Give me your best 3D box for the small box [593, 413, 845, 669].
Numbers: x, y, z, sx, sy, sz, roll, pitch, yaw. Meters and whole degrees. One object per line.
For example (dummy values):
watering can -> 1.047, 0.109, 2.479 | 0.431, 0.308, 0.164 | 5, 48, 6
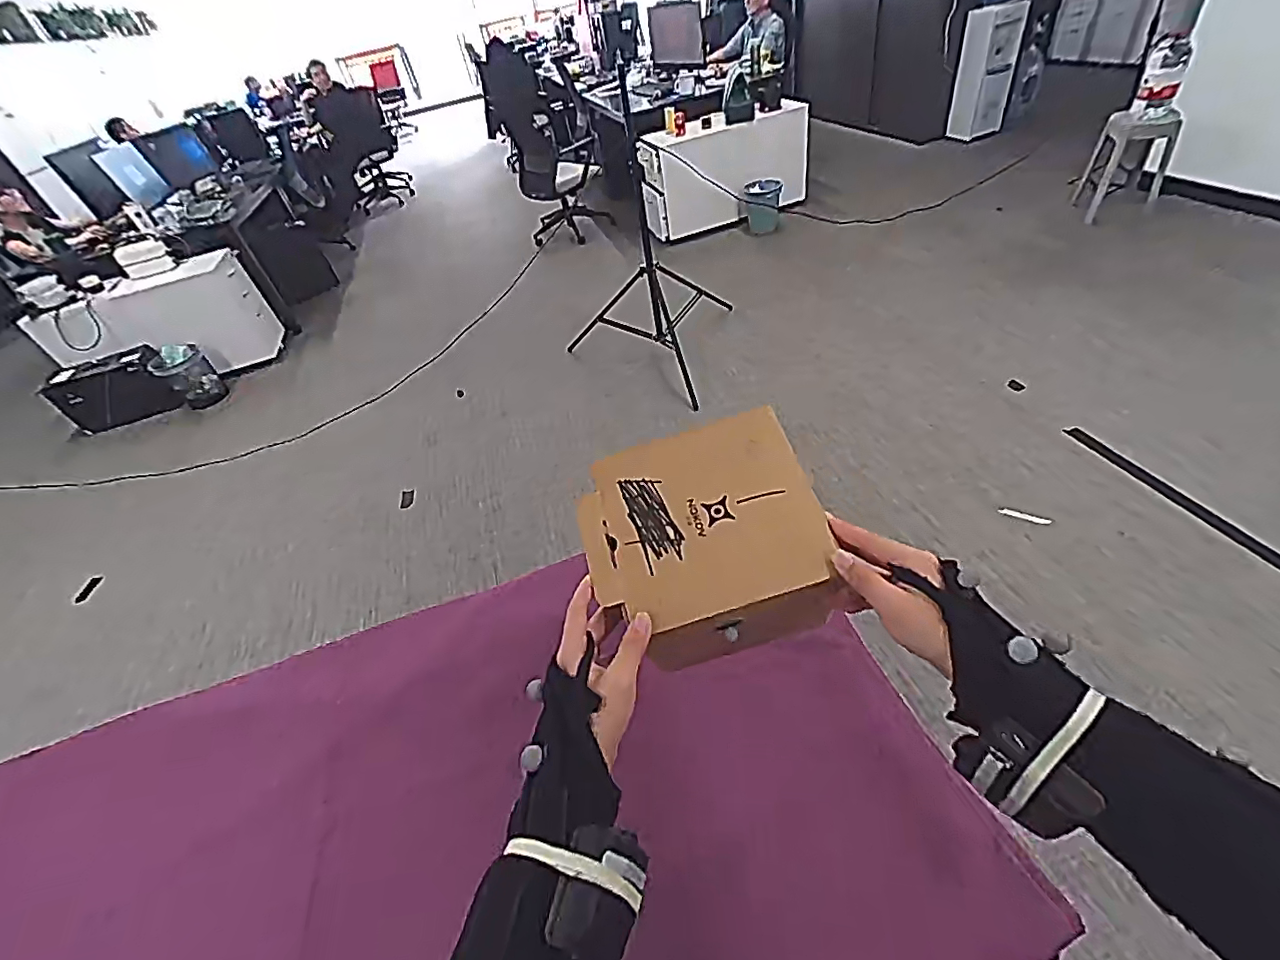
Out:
small box -> 0.071, 0.069, 0.521 | 0.179, 0.176, 0.168 | -17, 60, 1
